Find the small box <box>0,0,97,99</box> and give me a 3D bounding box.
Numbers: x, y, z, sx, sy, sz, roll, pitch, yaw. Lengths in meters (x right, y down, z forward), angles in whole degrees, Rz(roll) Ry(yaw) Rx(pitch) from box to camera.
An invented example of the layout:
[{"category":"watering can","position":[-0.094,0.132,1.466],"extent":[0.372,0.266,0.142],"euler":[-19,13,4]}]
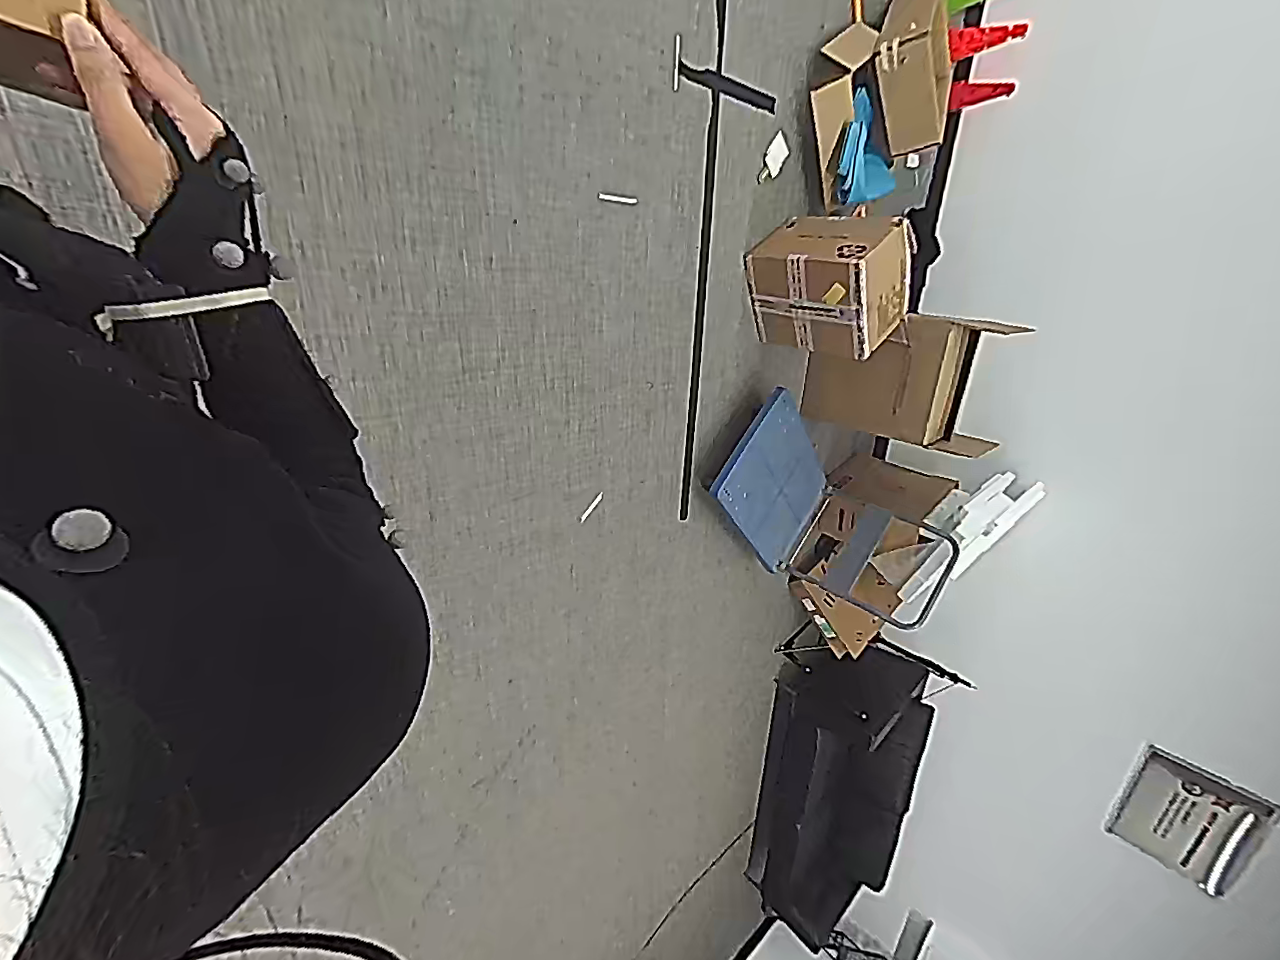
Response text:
[{"category":"small box","position":[-0.396,-0.337,0.272],"extent":[0.168,0.176,0.179],"euler":[-3,107,-45]}]
